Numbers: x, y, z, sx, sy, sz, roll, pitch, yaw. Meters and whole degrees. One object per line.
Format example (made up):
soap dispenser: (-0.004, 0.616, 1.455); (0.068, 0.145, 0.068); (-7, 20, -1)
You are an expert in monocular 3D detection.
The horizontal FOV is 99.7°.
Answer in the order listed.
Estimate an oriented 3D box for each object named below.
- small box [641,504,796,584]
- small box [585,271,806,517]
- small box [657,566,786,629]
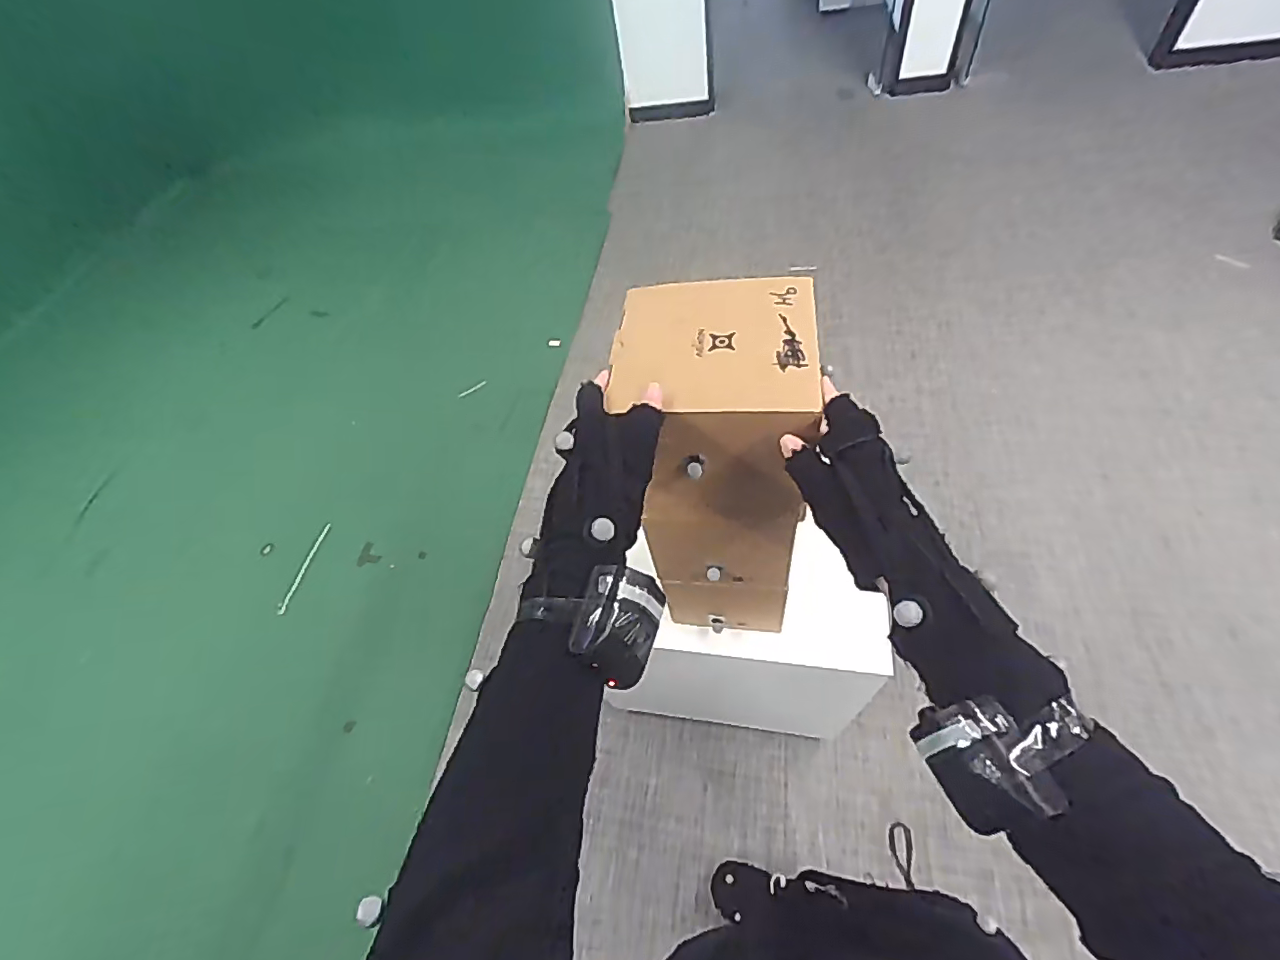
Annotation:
small box: (0.097, 0.009, 0.663); (0.168, 0.176, 0.179); (-1, 55, 11)
small box: (0.065, -0.075, 0.524); (0.179, 0.176, 0.168); (0, 56, 13)
small box: (0.125, 0.103, 0.795); (0.168, 0.176, 0.179); (0, 58, 13)
